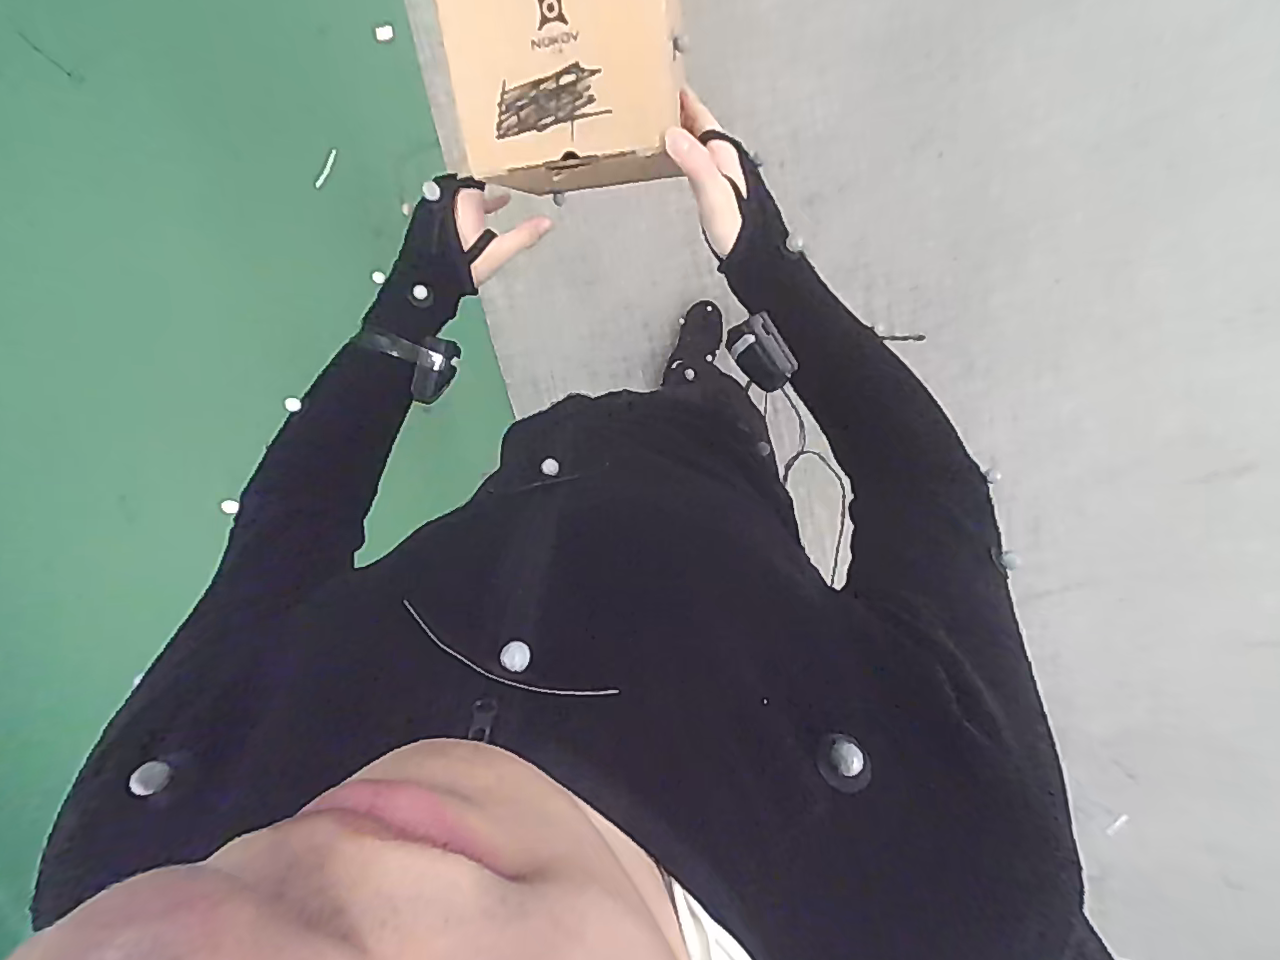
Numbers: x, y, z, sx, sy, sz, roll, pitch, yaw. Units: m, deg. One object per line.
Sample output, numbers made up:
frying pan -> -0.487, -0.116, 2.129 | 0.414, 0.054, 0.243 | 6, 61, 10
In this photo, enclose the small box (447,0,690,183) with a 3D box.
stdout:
small box -> -0.047, -0.364, 0.463 | 0.168, 0.176, 0.179 | -2, 111, 9
